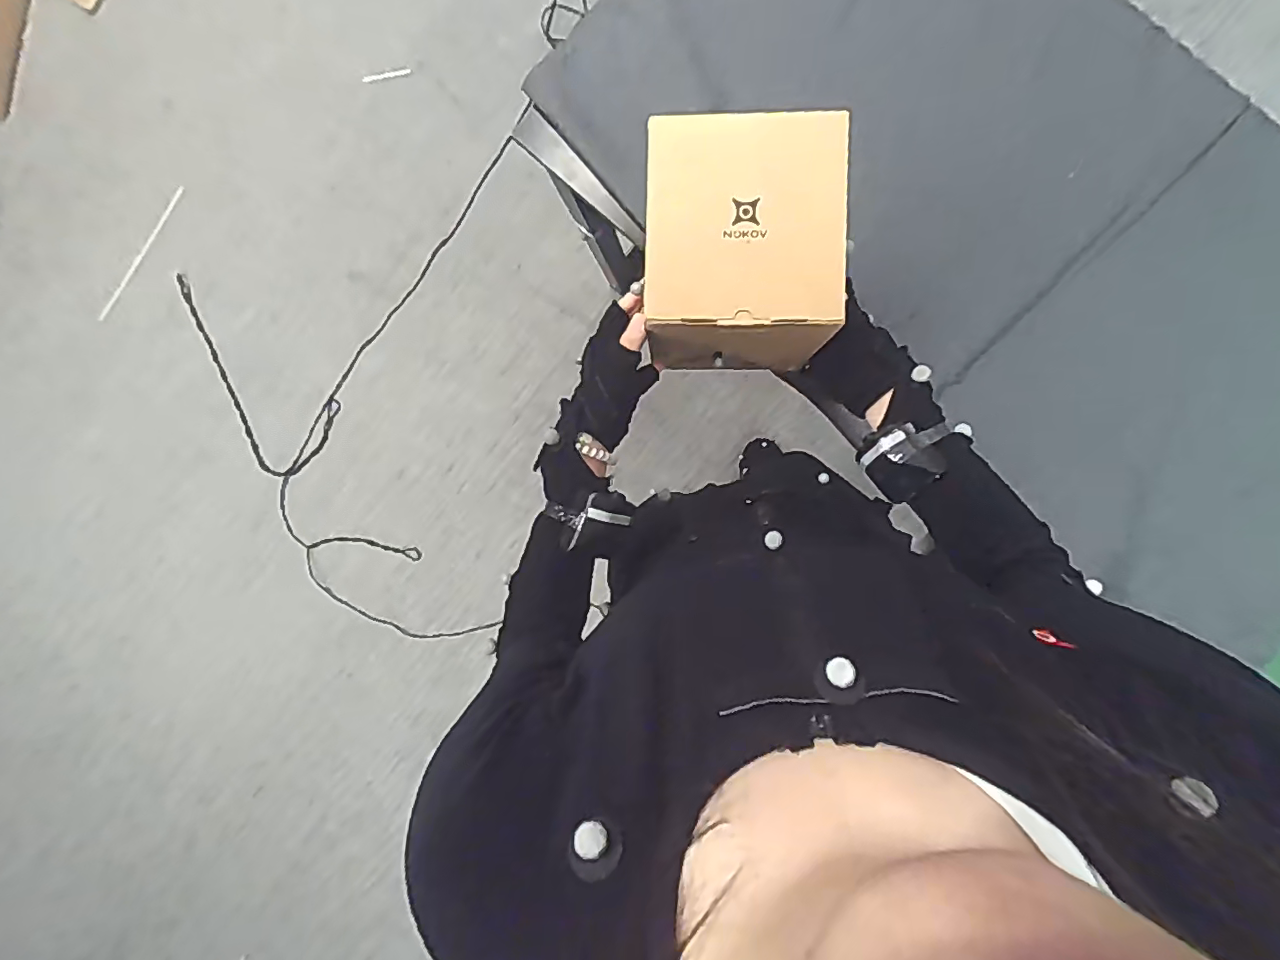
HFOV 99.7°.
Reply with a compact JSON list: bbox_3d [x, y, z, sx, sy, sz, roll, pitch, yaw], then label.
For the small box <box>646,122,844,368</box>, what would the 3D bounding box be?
[{"bbox_3d":[0.093,-0.218,0.540,0.168,0.176,0.179,1,90,4],"label":"small box"}]
